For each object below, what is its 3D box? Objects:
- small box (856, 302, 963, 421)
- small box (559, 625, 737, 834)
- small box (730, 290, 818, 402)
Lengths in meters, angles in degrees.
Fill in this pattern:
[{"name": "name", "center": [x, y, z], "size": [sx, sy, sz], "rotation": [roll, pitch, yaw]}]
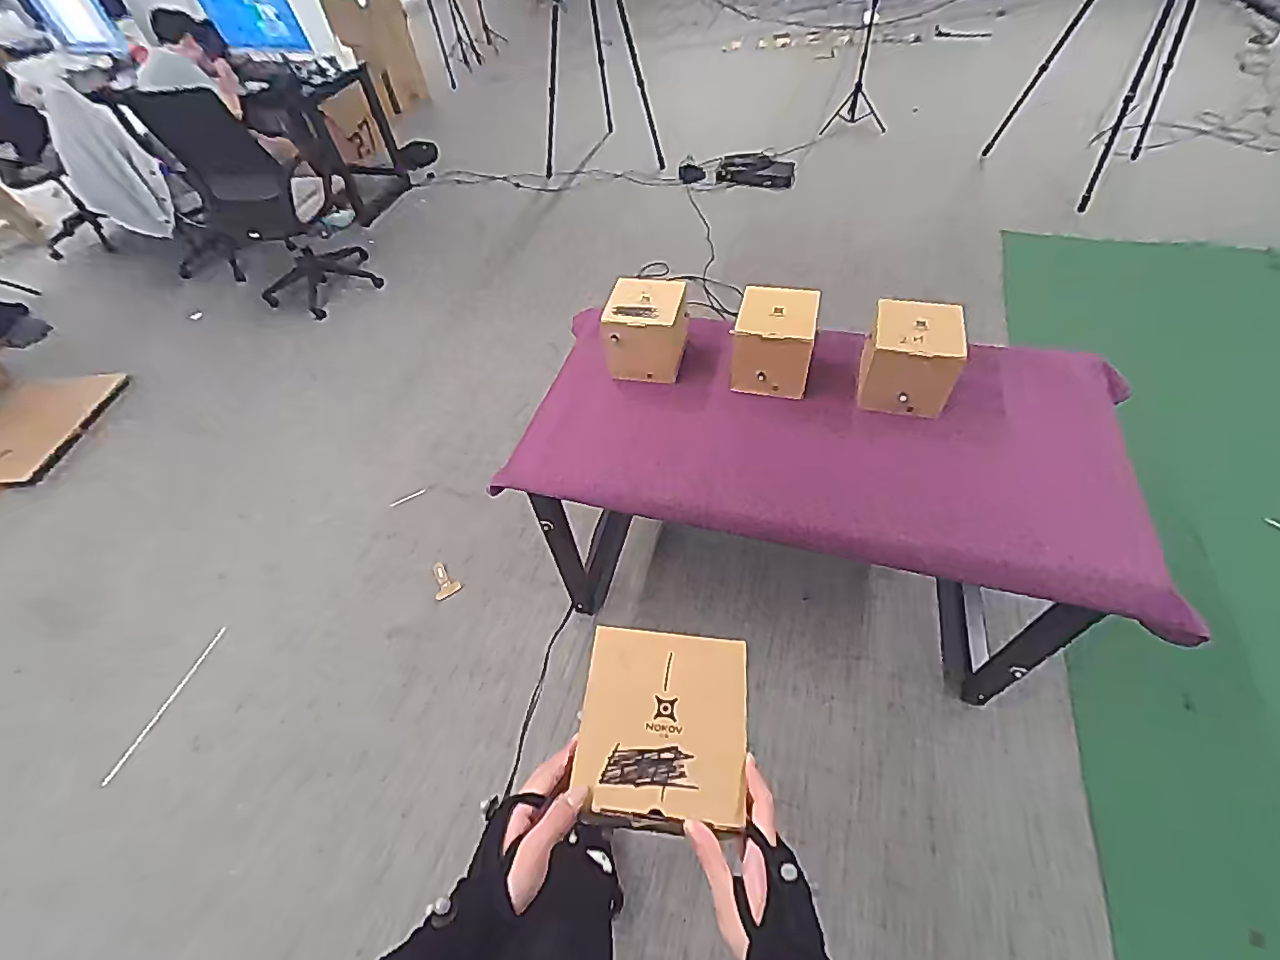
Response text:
[{"name": "small box", "center": [0.567, -0.253, 1.154], "size": [0.168, 0.176, 0.179], "rotation": [10, 54, 15]}, {"name": "small box", "center": [0.017, 0.284, 0.609], "size": [0.168, 0.176, 0.179], "rotation": [5, 53, 5]}, {"name": "small box", "center": [0.300, -0.304, 1.230], "size": [0.168, 0.176, 0.179], "rotation": [9, 54, 14]}]
